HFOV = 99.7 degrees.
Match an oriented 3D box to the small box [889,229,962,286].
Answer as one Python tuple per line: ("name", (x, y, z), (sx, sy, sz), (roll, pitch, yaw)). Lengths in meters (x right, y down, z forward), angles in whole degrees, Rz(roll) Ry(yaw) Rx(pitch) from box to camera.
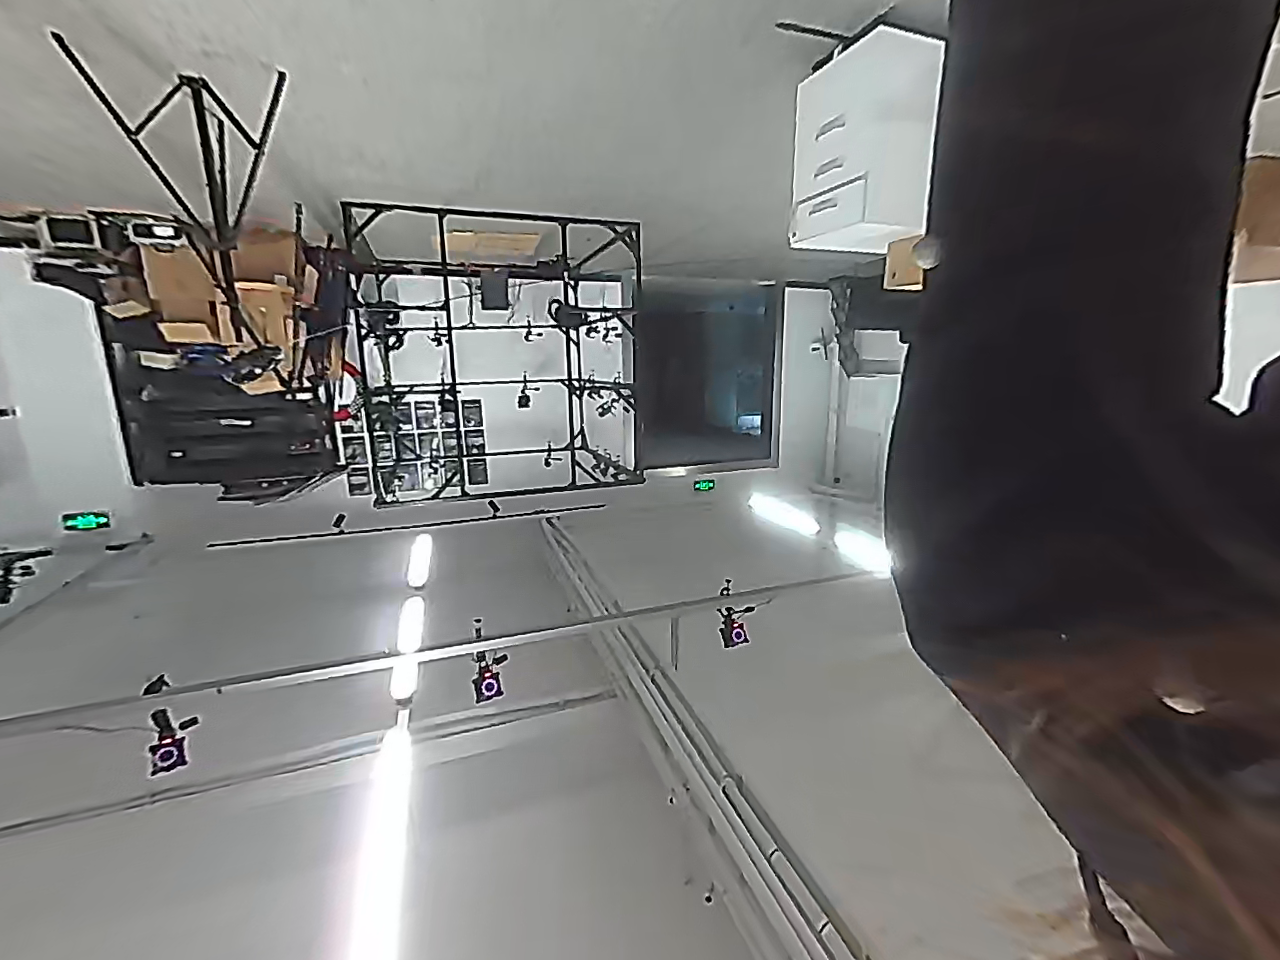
("small box", (1.062, -0.822, 2.009), (0.168, 0.176, 0.179), (-6, -165, -19))
